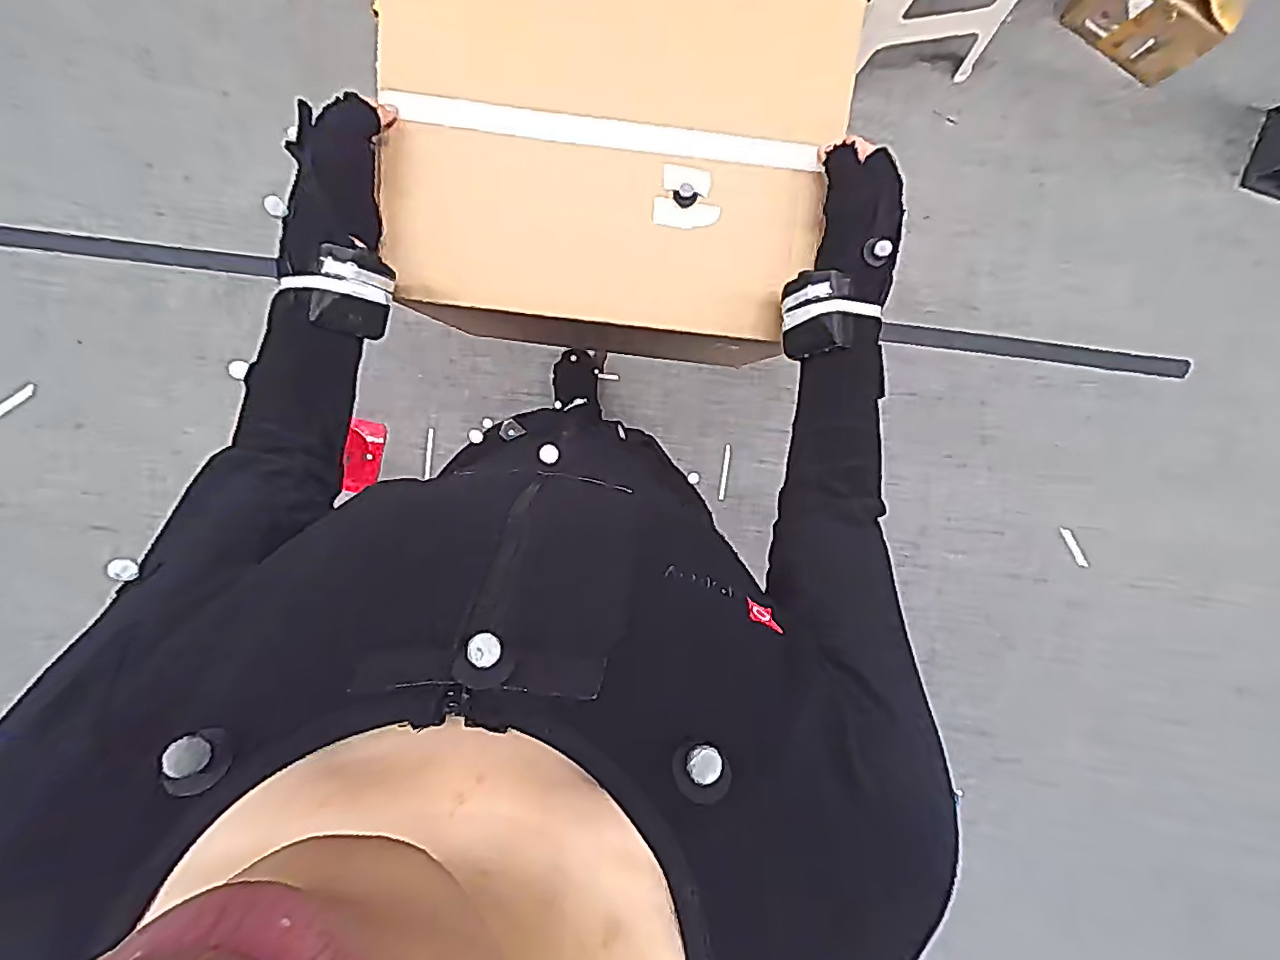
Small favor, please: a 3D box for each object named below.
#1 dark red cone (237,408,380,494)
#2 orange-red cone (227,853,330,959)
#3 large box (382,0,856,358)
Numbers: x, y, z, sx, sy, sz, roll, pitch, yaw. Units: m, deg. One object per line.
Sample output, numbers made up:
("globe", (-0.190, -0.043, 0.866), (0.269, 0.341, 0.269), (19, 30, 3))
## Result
("dark red cone", (-0.781, -0.058, 1.249), (0.201, 0.394, 0.202), (12, 96, -4))
("orange-red cone", (-1.007, 1.212, 1.414), (0.198, 0.360, 0.199), (4, 98, -1))
("large box", (-0.029, -0.326, 0.623), (0.408, 0.320, 0.320), (6, 98, -4))
